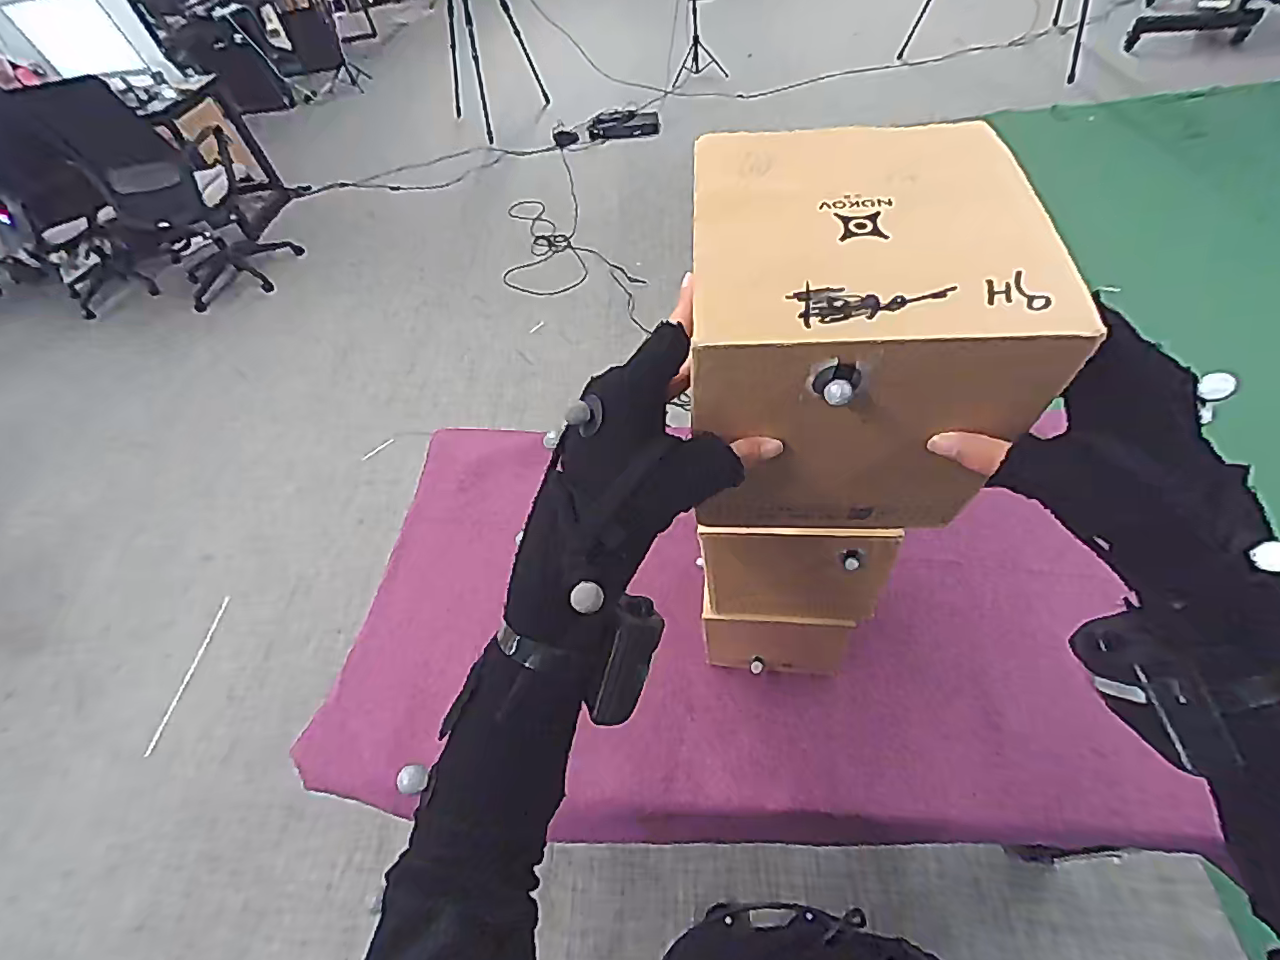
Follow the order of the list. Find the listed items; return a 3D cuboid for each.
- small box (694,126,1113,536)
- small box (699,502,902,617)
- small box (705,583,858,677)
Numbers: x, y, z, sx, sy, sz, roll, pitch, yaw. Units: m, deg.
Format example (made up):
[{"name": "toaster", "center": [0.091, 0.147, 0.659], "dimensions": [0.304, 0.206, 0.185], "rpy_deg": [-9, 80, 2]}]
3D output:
[{"name": "small box", "center": [0.117, -0.083, 0.332], "dimensions": [0.168, 0.176, 0.179], "rpy_deg": [0, 57, 7]}, {"name": "small box", "center": [0.158, 0.034, 0.572], "dimensions": [0.179, 0.176, 0.168], "rpy_deg": [-1, 52, 10]}, {"name": "small box", "center": [0.174, 0.135, 0.698], "dimensions": [0.168, 0.176, 0.179], "rpy_deg": [1, 53, 11]}]
